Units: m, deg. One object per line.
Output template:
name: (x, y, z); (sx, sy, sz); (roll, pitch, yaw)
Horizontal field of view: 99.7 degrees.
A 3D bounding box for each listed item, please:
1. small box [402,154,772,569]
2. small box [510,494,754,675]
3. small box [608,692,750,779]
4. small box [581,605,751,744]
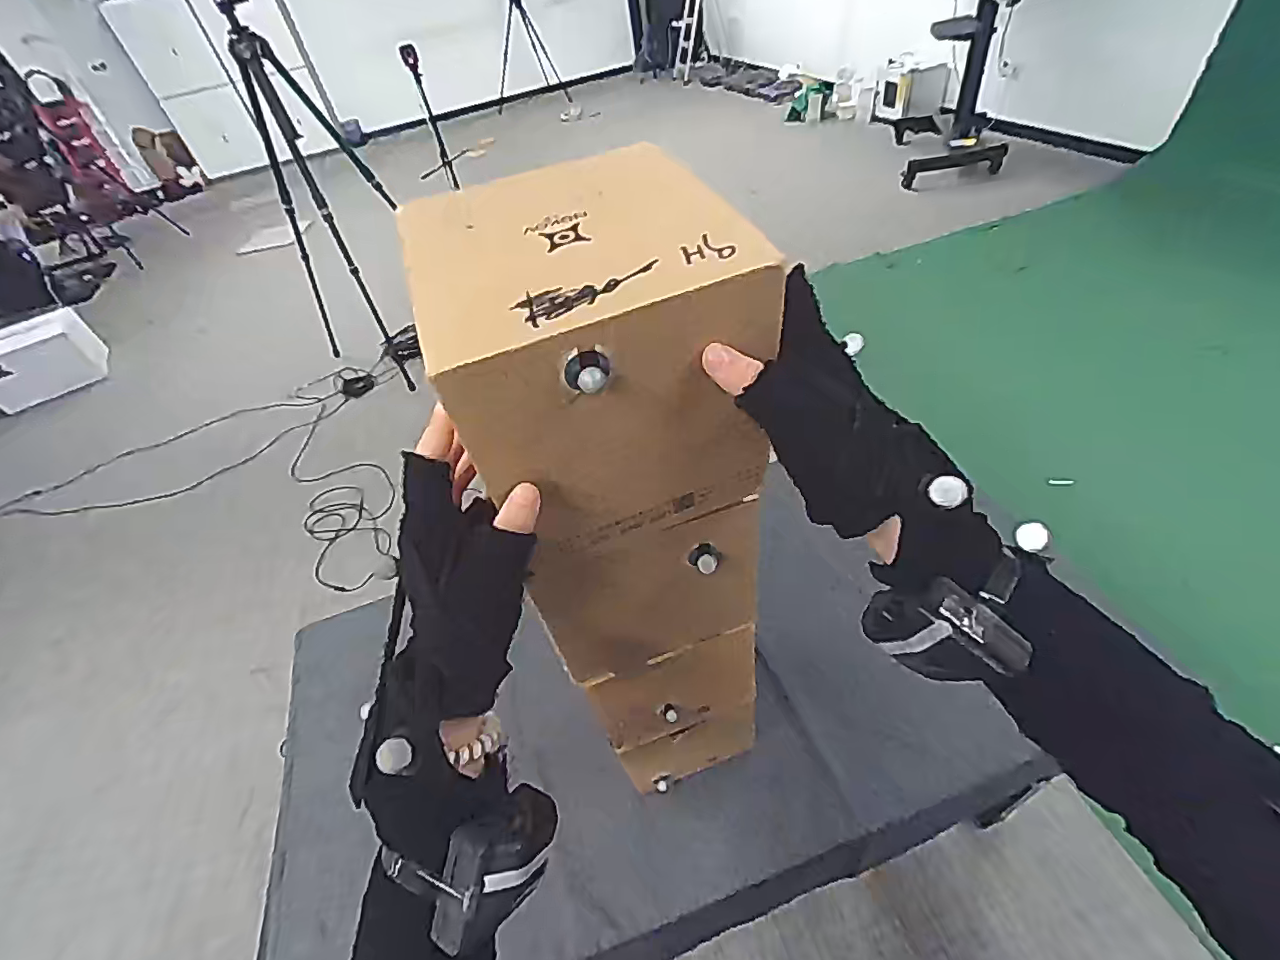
small box: (-0.033, -0.075, 0.349); (0.168, 0.176, 0.179); (-21, 51, -7)
small box: (-0.011, 0.045, 0.487); (0.179, 0.176, 0.168); (-18, 45, -5)
small box: (0.037, 0.270, 0.720); (0.168, 0.176, 0.179); (-20, 44, -7)
small box: (0.012, 0.158, 0.605); (0.168, 0.176, 0.179); (-19, 45, -6)
